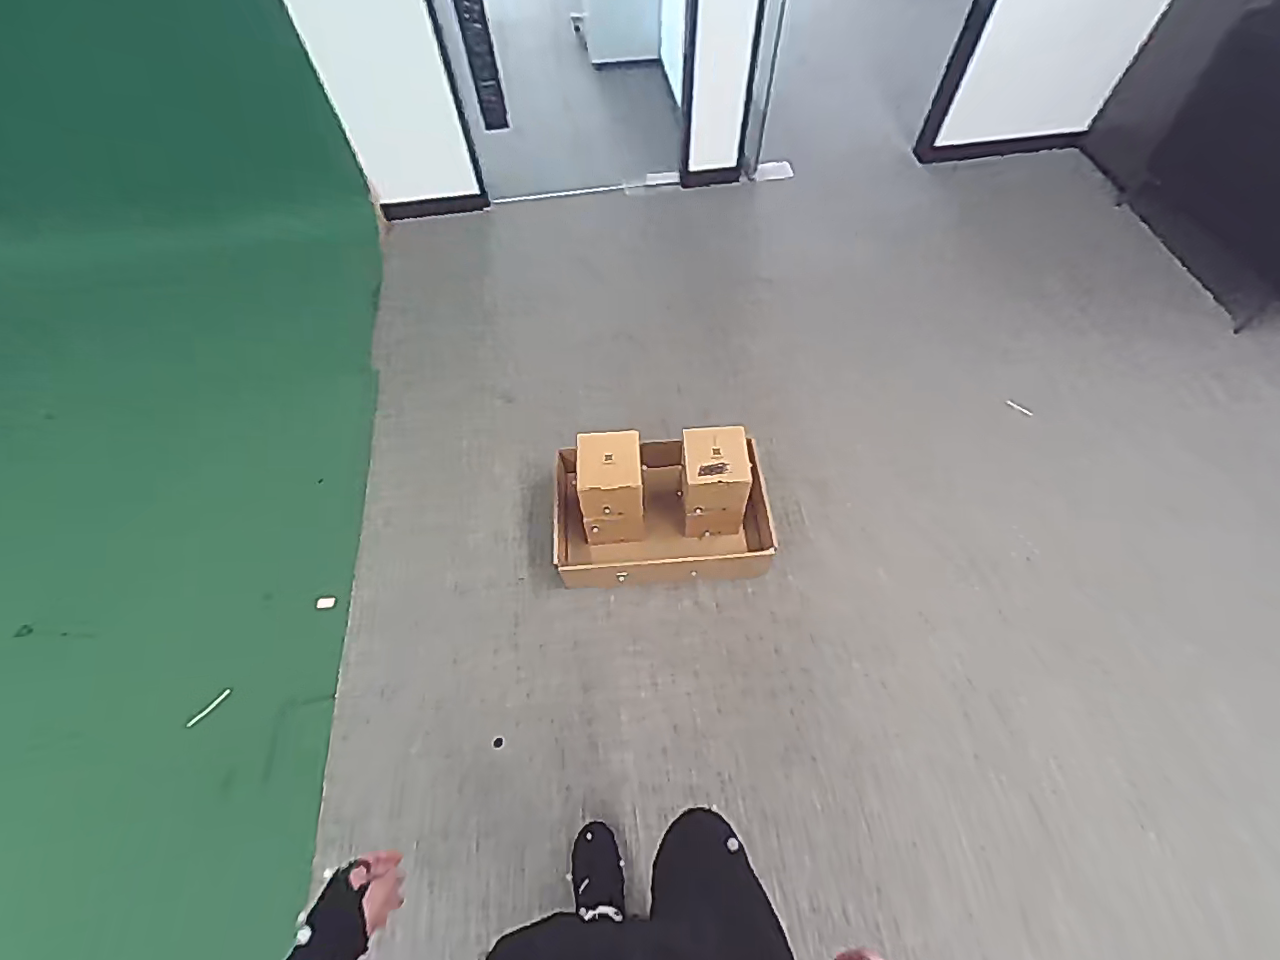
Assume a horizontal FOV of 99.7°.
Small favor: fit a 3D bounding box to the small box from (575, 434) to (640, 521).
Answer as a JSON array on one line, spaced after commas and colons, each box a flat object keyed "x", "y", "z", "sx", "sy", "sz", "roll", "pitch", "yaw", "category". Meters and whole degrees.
[{"x": -0.089, "y": -0.004, "z": 1.467, "sx": 0.168, "sy": 0.176, "sz": 0.179, "roll": -3, "pitch": 59, "yaw": -2, "category": "small box"}]

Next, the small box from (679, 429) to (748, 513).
[{"x": 0.194, "y": -0.018, "z": 1.470, "sx": 0.168, "sy": 0.176, "sz": 0.179, "roll": -3, "pitch": 58, "yaw": 1, "category": "small box"}]
